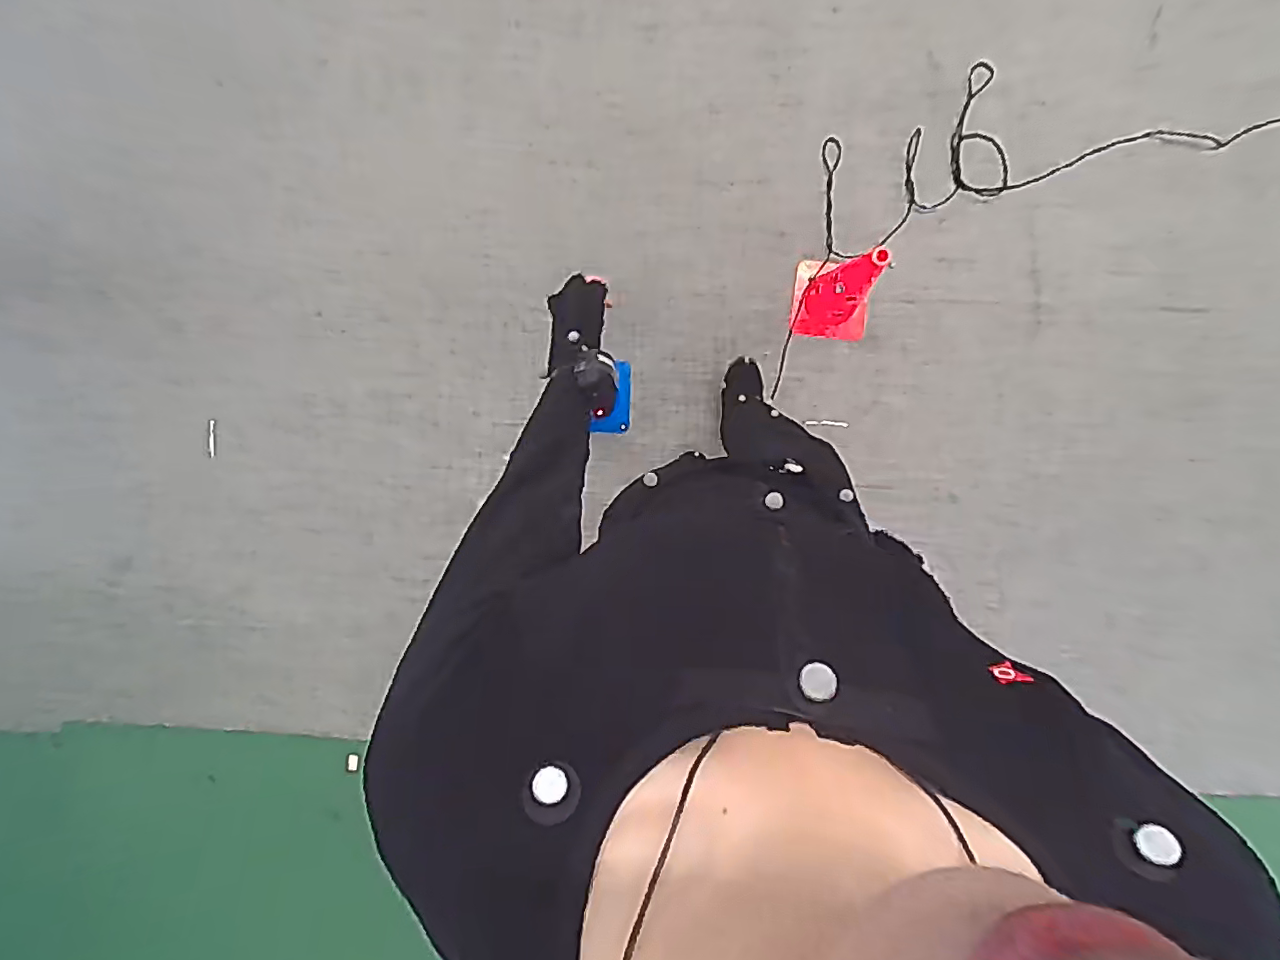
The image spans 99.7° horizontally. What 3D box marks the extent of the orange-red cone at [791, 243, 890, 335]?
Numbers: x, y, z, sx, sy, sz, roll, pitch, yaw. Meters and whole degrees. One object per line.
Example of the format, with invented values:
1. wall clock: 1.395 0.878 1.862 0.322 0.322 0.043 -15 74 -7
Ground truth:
1. orange-red cone: 0.504 -0.479 1.277 0.198 0.360 0.199 8 96 3
